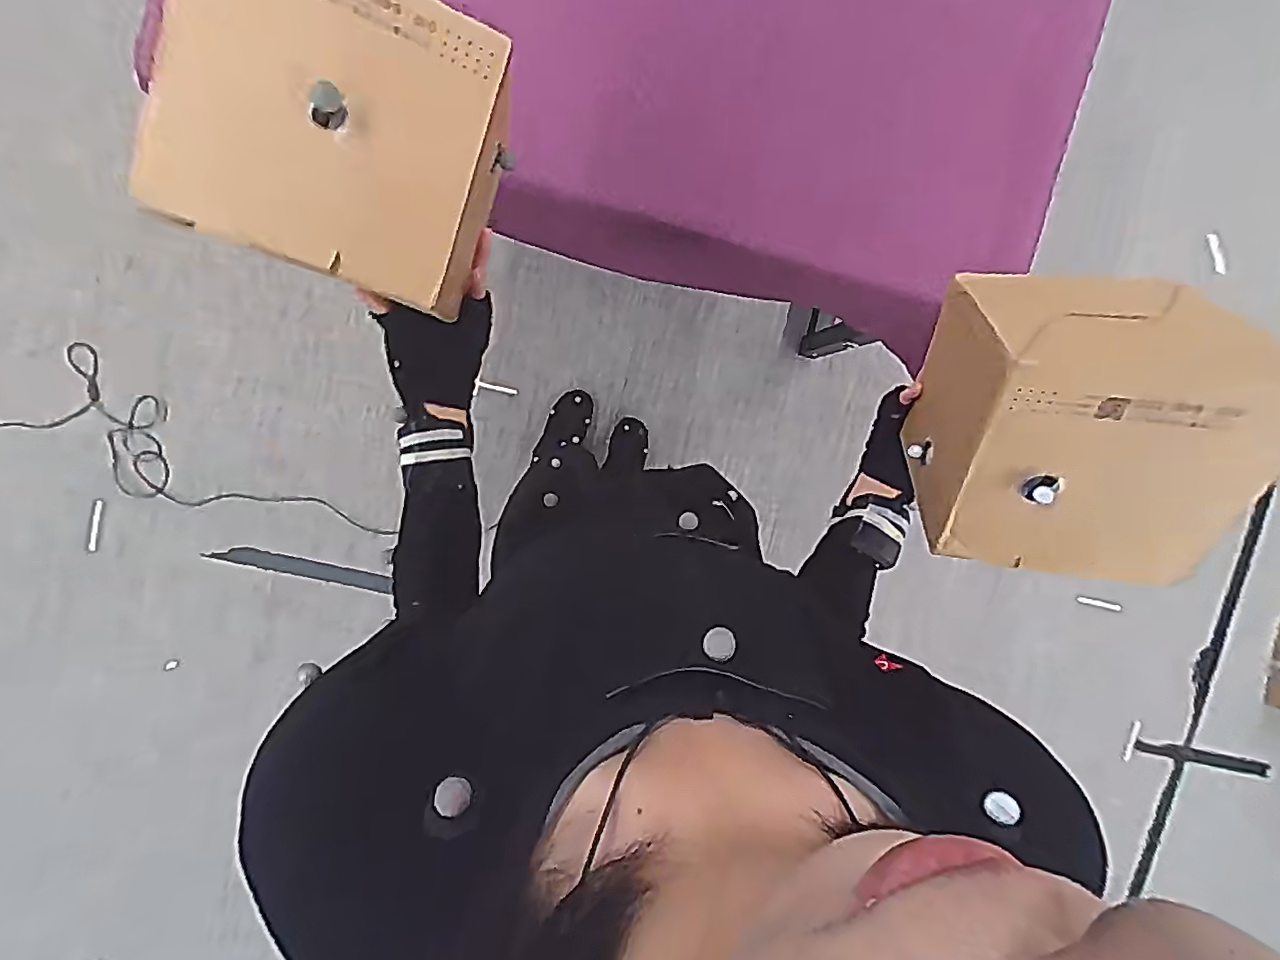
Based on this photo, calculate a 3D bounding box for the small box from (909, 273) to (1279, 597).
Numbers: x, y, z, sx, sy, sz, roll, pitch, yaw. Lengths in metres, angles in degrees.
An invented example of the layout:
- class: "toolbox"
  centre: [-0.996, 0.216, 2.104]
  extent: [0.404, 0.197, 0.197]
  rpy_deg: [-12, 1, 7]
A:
- class: "small box"
  centre: [0.323, -0.045, 0.403]
  extent: [0.168, 0.179, 0.176]
  rpy_deg: [9, 129, 11]

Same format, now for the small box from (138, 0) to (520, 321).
- class: "small box"
  centre: [-0.190, -0.229, 0.382]
  extent: [0.168, 0.179, 0.176]
  rpy_deg: [18, 97, -16]
